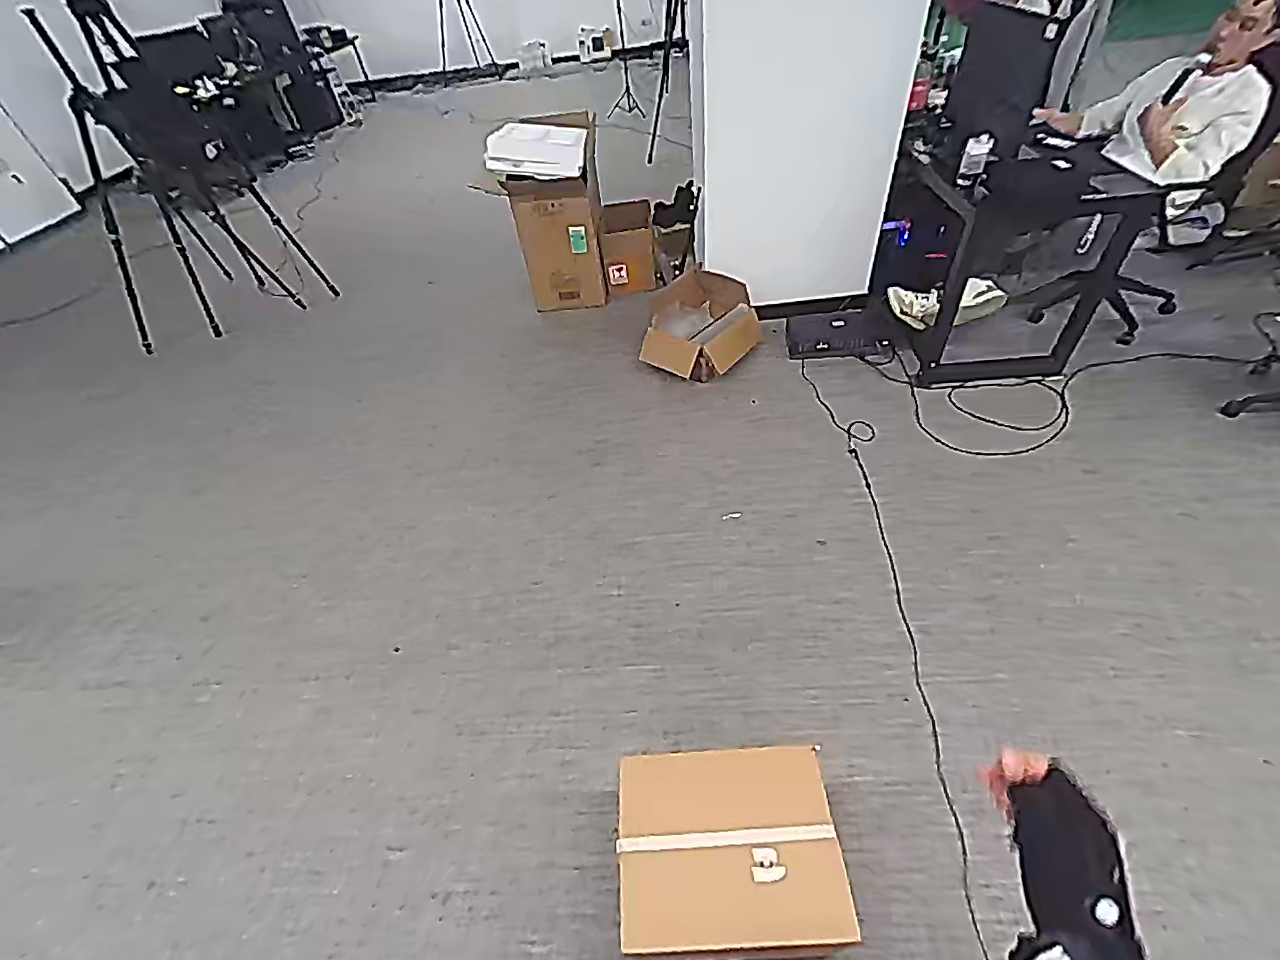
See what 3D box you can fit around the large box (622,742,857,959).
[{"bbox_3d":[0.178,0.779,1.131,0.408,0.320,0.320,-5,46,2],"label":"large box"}]
